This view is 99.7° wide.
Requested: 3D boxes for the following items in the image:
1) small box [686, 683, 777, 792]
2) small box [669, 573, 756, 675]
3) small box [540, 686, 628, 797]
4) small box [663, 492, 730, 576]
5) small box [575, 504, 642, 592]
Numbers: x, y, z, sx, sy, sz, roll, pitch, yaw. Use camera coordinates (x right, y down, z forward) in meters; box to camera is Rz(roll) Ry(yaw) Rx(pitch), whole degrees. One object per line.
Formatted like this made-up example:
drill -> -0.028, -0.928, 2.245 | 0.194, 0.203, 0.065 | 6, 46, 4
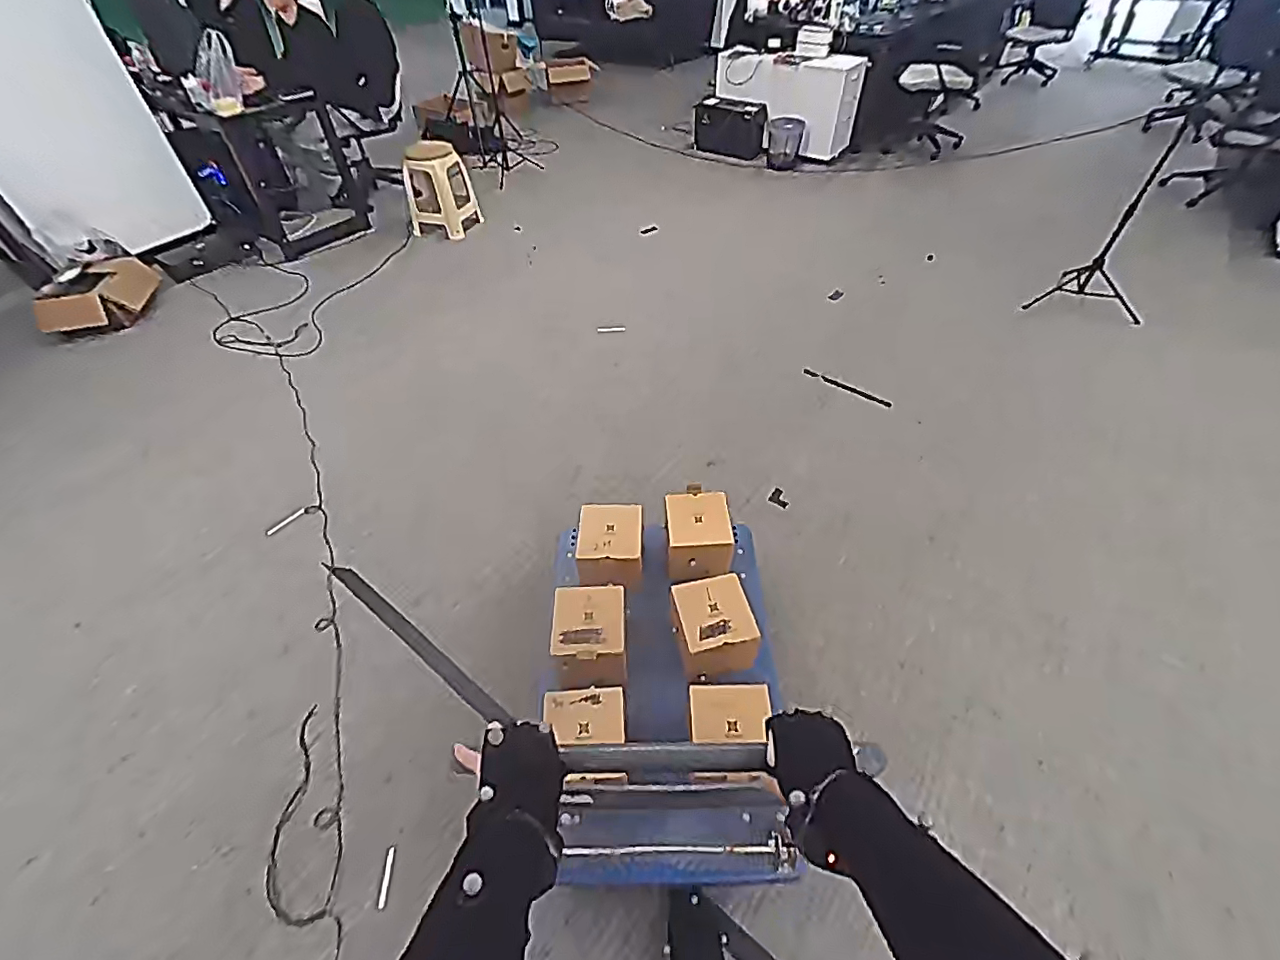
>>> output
small box -> 0.185, 0.548, 1.143 | 0.168, 0.176, 0.179 | -1, 47, 1
small box -> 0.170, 0.356, 1.315 | 0.168, 0.176, 0.179 | -10, 48, -7
small box -> -0.113, 0.557, 1.143 | 0.168, 0.176, 0.179 | -3, 48, -2
small box -> 0.152, 0.155, 1.498 | 0.168, 0.176, 0.179 | -3, 48, -1
small box -> -0.080, 0.185, 1.475 | 0.168, 0.176, 0.179 | 0, 49, 2
